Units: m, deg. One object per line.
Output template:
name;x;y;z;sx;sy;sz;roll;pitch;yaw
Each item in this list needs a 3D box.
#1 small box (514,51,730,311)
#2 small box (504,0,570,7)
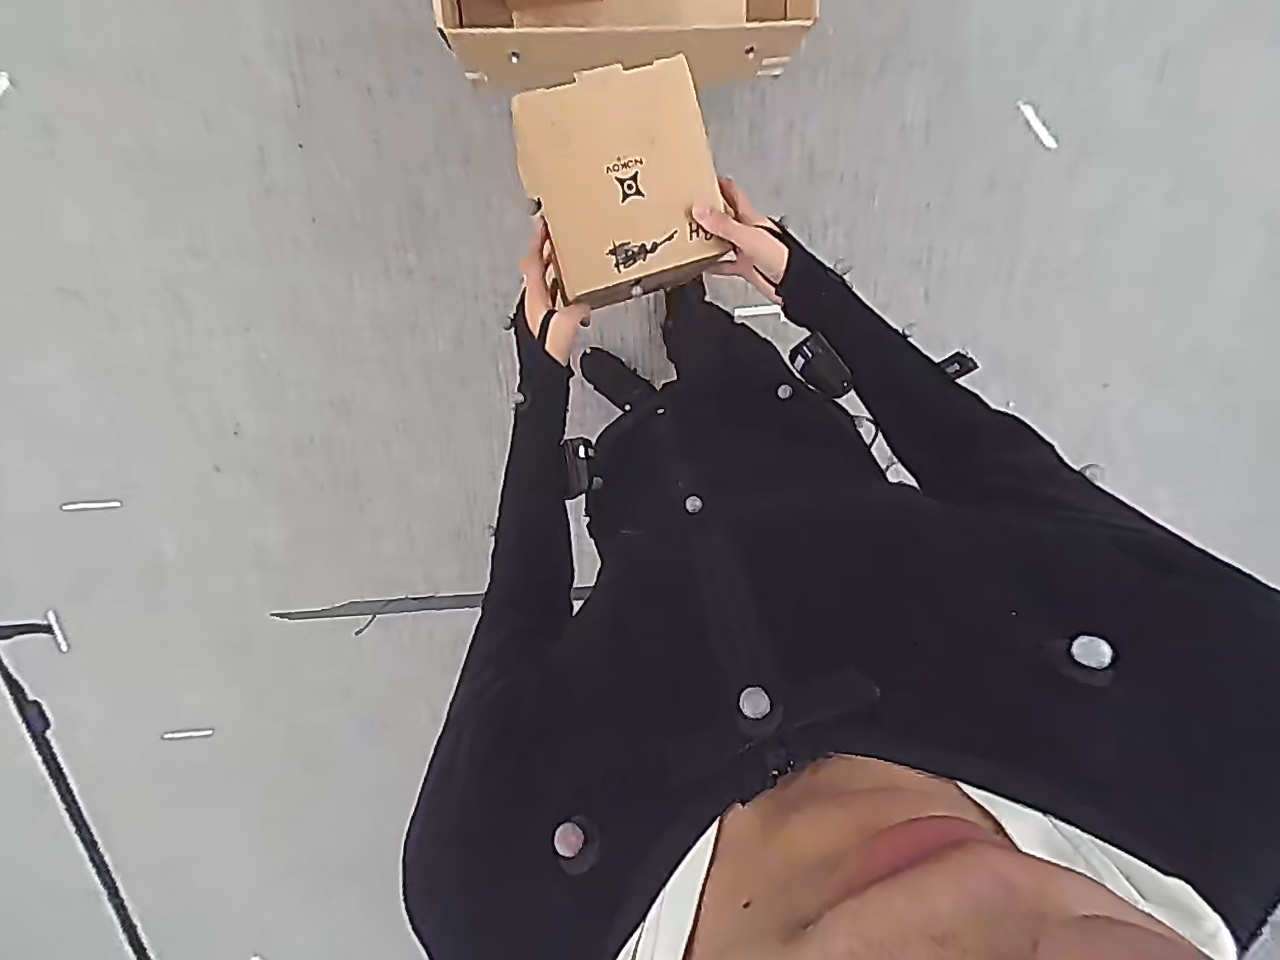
small box;-0.027;-0.296;0.572;0.168;0.176;0.179;-18;102;-7
small box;-0.158;-0.899;0.856;0.179;0.176;0.168;-8;106;-1
